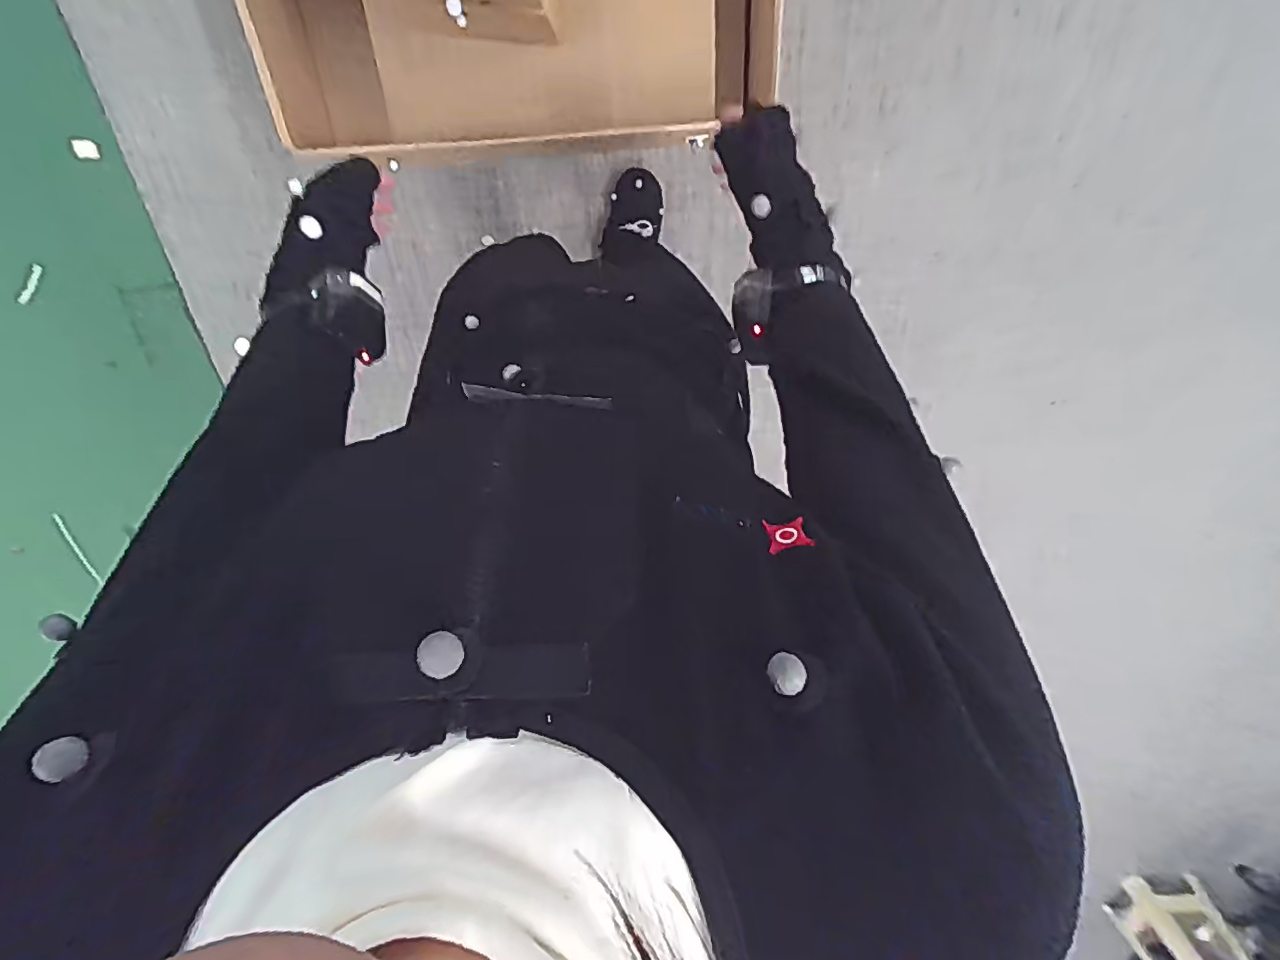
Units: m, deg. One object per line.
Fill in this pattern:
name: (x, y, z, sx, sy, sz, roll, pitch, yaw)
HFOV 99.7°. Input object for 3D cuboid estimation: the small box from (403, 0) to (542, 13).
small box: (-0.181, -0.552, 0.478, 0.168, 0.176, 0.179, 1, 120, -2)

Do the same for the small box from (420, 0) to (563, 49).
small box: (-0.179, -0.631, 0.621, 0.168, 0.176, 0.179, 3, 118, -2)
